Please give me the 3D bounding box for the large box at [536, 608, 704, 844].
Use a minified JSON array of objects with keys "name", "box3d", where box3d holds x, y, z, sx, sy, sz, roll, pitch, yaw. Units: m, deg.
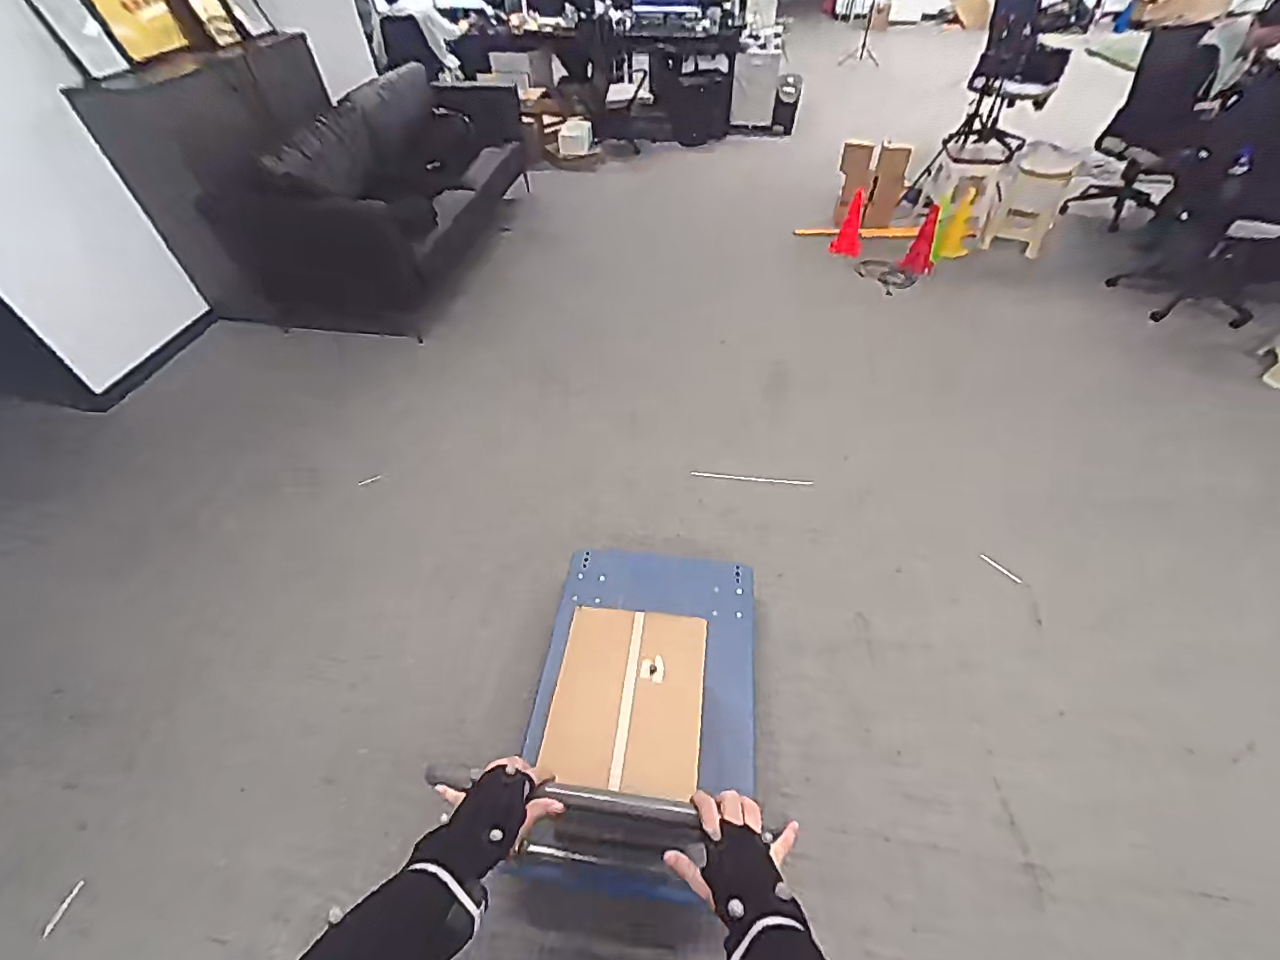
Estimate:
[{"name":"large box","box3d":[-0.021,0.561,1.246,0.320,0.320,0.408,5,46,6]}]
